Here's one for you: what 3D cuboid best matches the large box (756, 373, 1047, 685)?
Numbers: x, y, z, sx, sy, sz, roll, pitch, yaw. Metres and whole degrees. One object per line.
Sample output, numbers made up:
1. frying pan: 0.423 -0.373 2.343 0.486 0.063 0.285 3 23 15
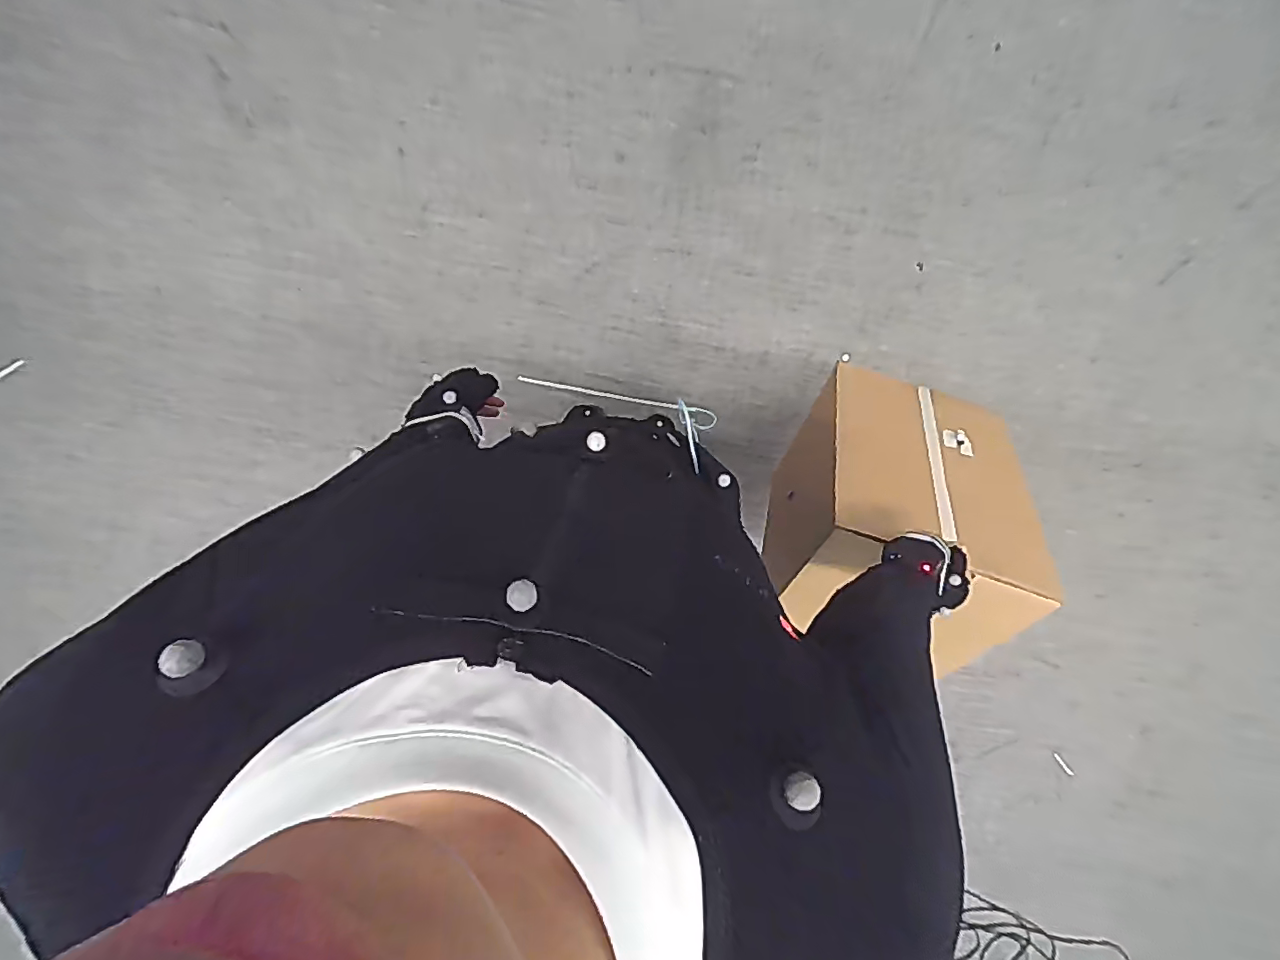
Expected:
1. large box: 0.417 0.081 0.965 0.320 0.408 0.320 20 136 1
